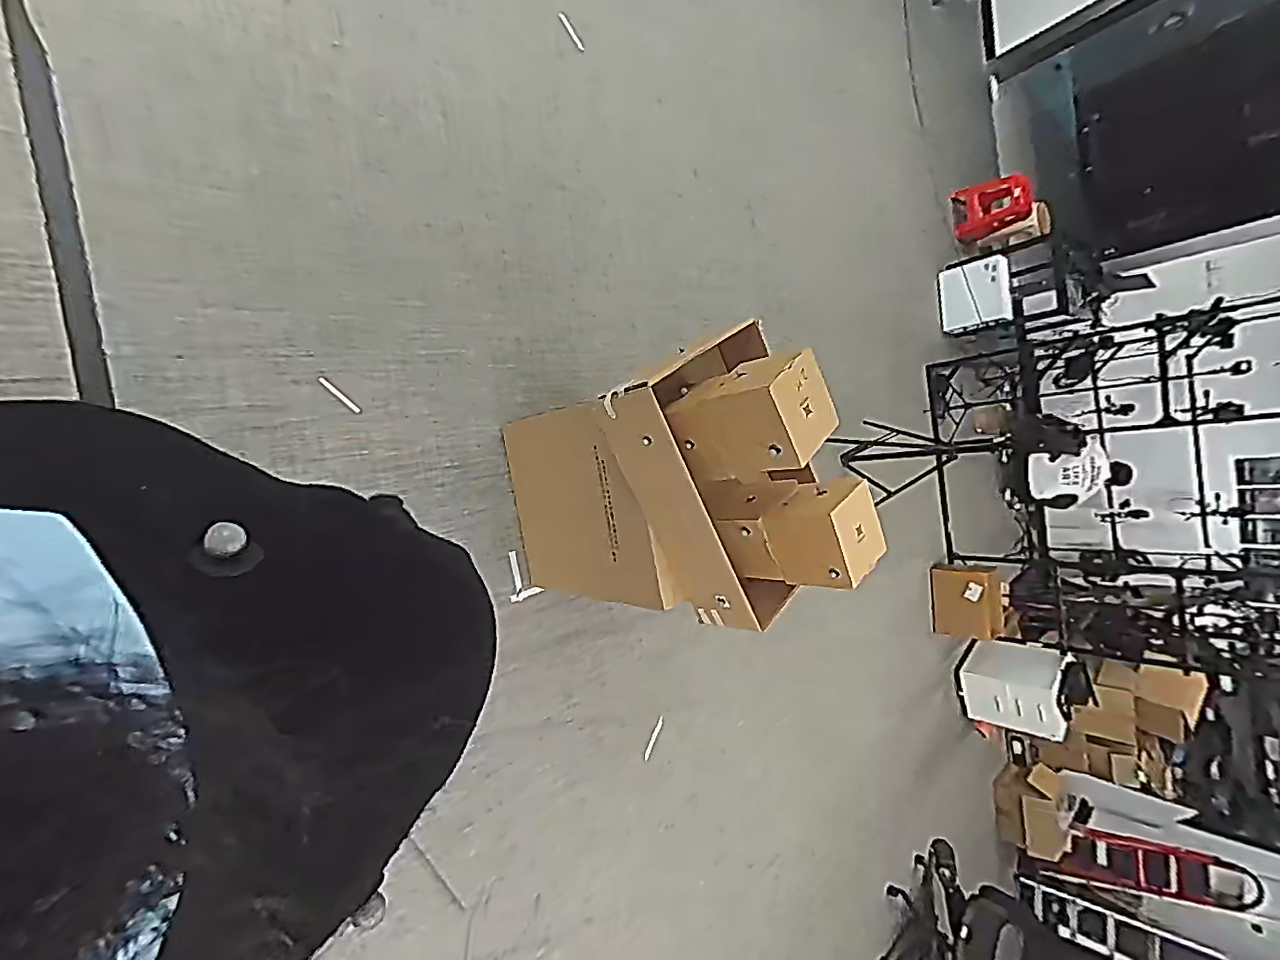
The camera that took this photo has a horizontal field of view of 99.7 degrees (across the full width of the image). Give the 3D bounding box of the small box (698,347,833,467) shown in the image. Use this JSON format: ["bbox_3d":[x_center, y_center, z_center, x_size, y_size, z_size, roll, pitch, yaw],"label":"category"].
[{"bbox_3d":[0.248,-0.139,1.077,0.168,0.176,0.179,-43,114,-34],"label":"small box"}]

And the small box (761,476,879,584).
[{"bbox_3d":[0.390,0.108,1.183,0.168,0.176,0.179,-33,107,-37],"label":"small box"}]
